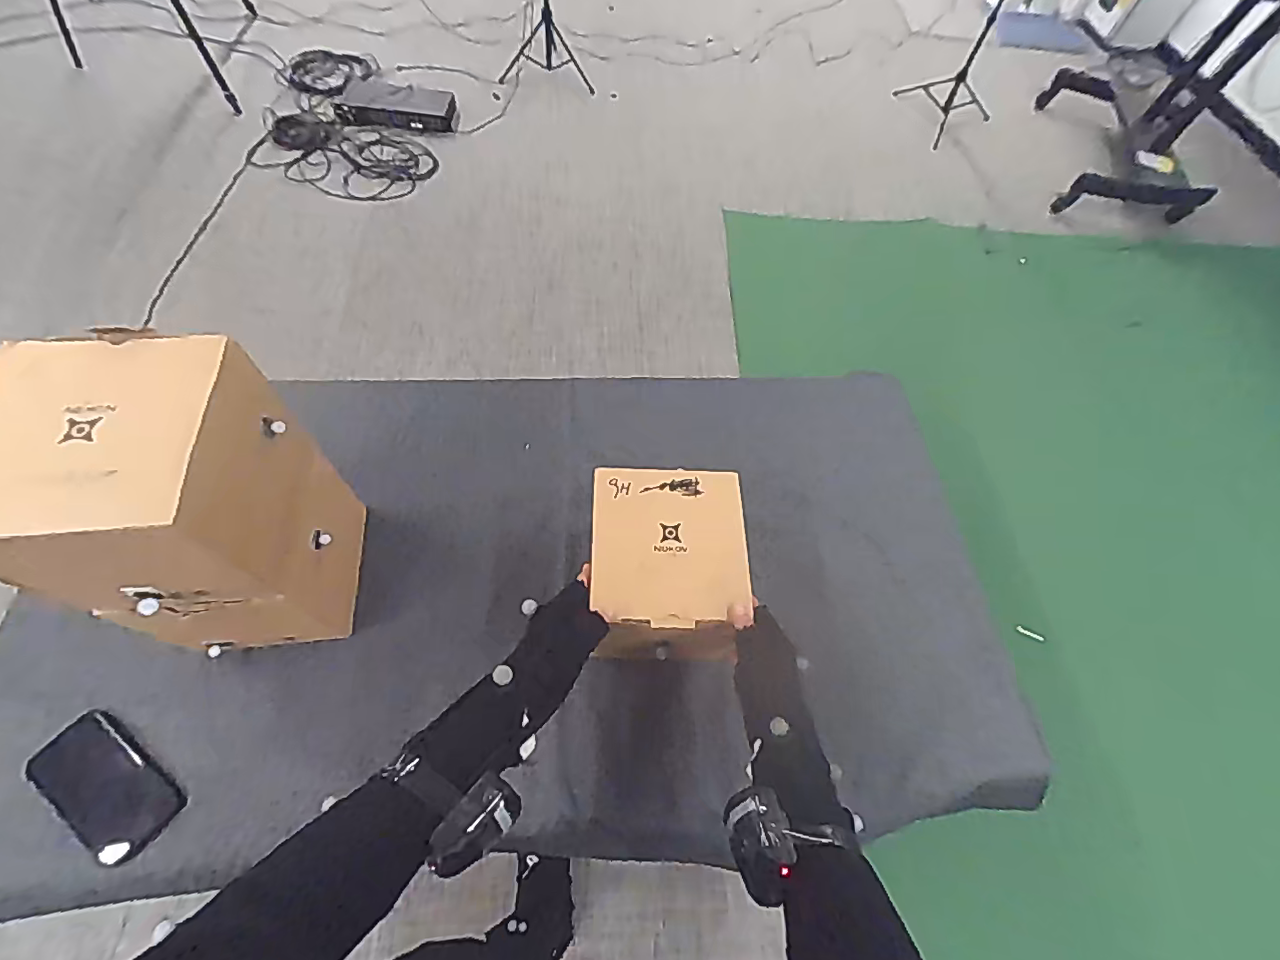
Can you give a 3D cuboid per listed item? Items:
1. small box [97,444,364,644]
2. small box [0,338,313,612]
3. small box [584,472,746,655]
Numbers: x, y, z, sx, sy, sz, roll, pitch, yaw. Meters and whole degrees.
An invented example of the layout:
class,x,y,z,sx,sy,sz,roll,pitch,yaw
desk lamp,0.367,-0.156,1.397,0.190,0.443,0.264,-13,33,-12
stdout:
class,x,y,z,sx,sy,sz,roll,pitch,yaw
small box,-0.430,0.079,0.609,0.168,0.176,0.179,-4,61,-9
small box,-0.411,0.001,0.469,0.168,0.176,0.179,-5,63,-8
small box,0.021,0.107,0.645,0.168,0.176,0.179,2,61,-4
